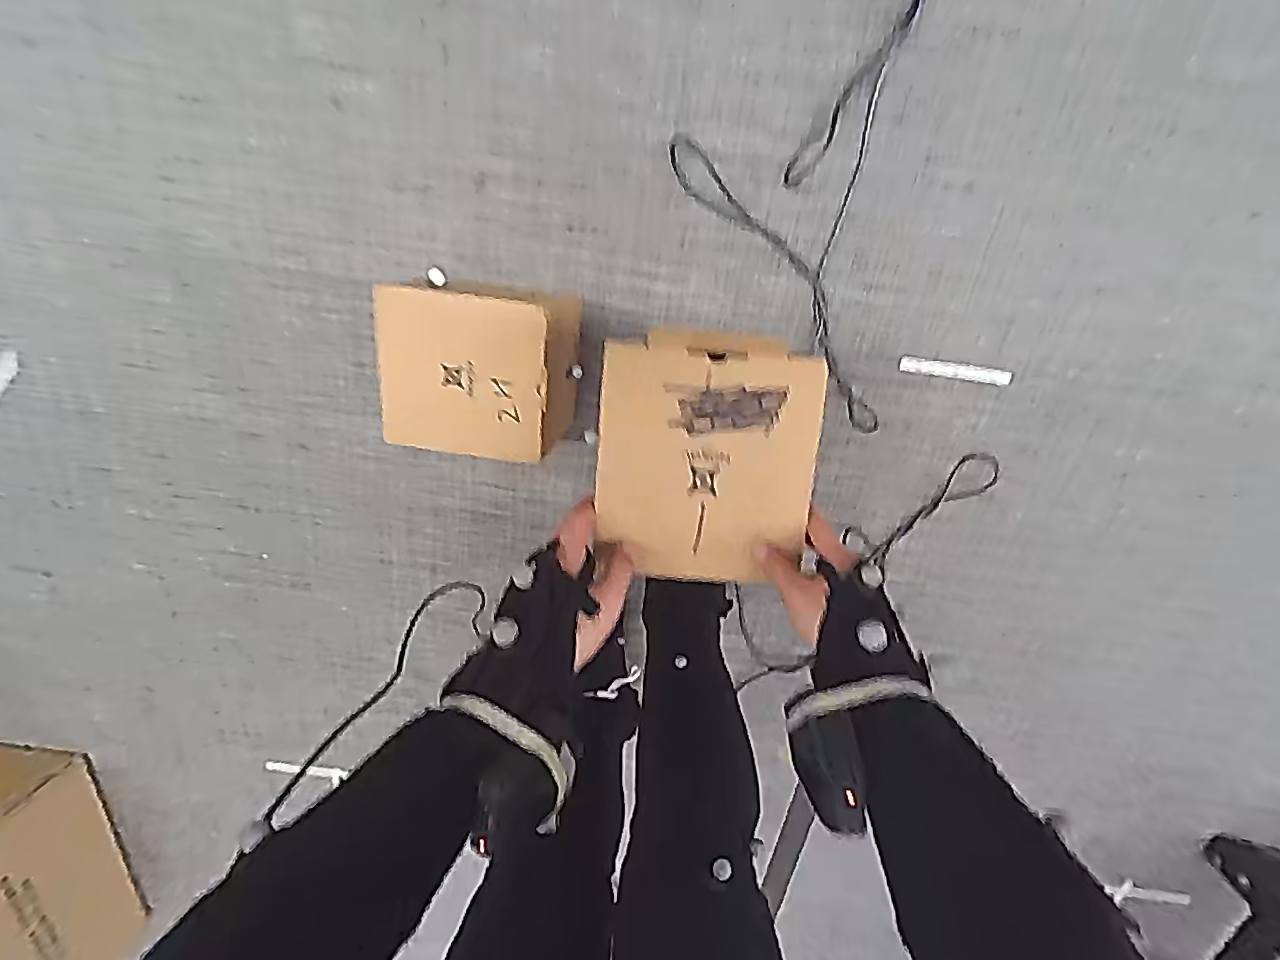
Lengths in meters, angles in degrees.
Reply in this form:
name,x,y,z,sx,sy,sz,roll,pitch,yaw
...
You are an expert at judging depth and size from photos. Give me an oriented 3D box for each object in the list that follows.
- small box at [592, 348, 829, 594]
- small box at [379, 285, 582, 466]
name,x,y,z,sx,sy,sz,roll,pitch,yaw
small box,0.048,-0.016,0.482,0.168,0.176,0.179,5,100,-2
small box,-0.174,-0.131,0.629,0.179,0.176,0.168,8,112,2
